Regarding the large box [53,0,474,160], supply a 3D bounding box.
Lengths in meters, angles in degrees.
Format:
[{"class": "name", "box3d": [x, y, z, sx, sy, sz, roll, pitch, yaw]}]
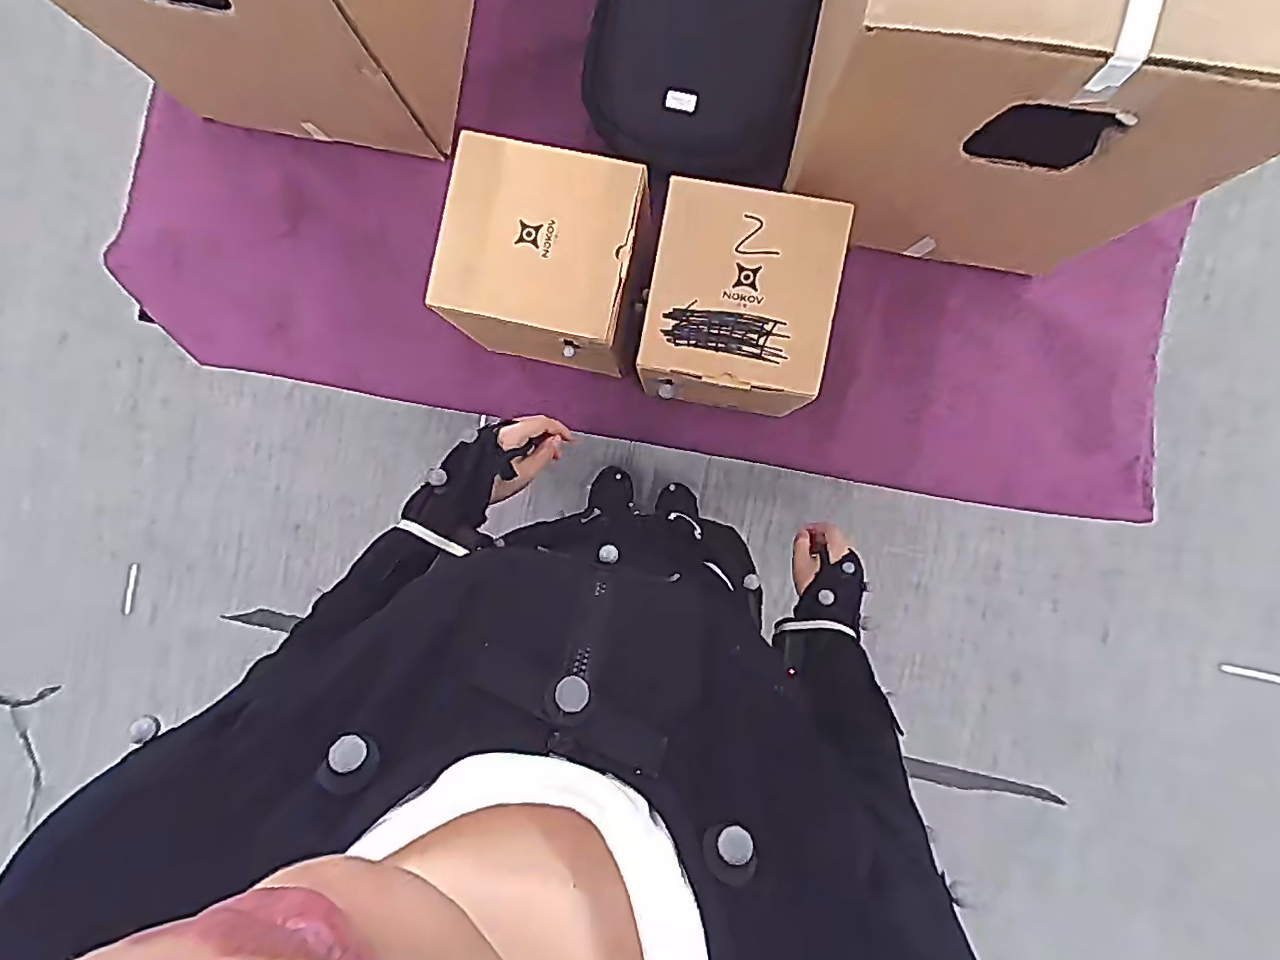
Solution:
[{"class": "large box", "box3d": [-0.348, -0.602, 0.507, 0.320, 0.320, 0.408, 9, 94, 1]}]
